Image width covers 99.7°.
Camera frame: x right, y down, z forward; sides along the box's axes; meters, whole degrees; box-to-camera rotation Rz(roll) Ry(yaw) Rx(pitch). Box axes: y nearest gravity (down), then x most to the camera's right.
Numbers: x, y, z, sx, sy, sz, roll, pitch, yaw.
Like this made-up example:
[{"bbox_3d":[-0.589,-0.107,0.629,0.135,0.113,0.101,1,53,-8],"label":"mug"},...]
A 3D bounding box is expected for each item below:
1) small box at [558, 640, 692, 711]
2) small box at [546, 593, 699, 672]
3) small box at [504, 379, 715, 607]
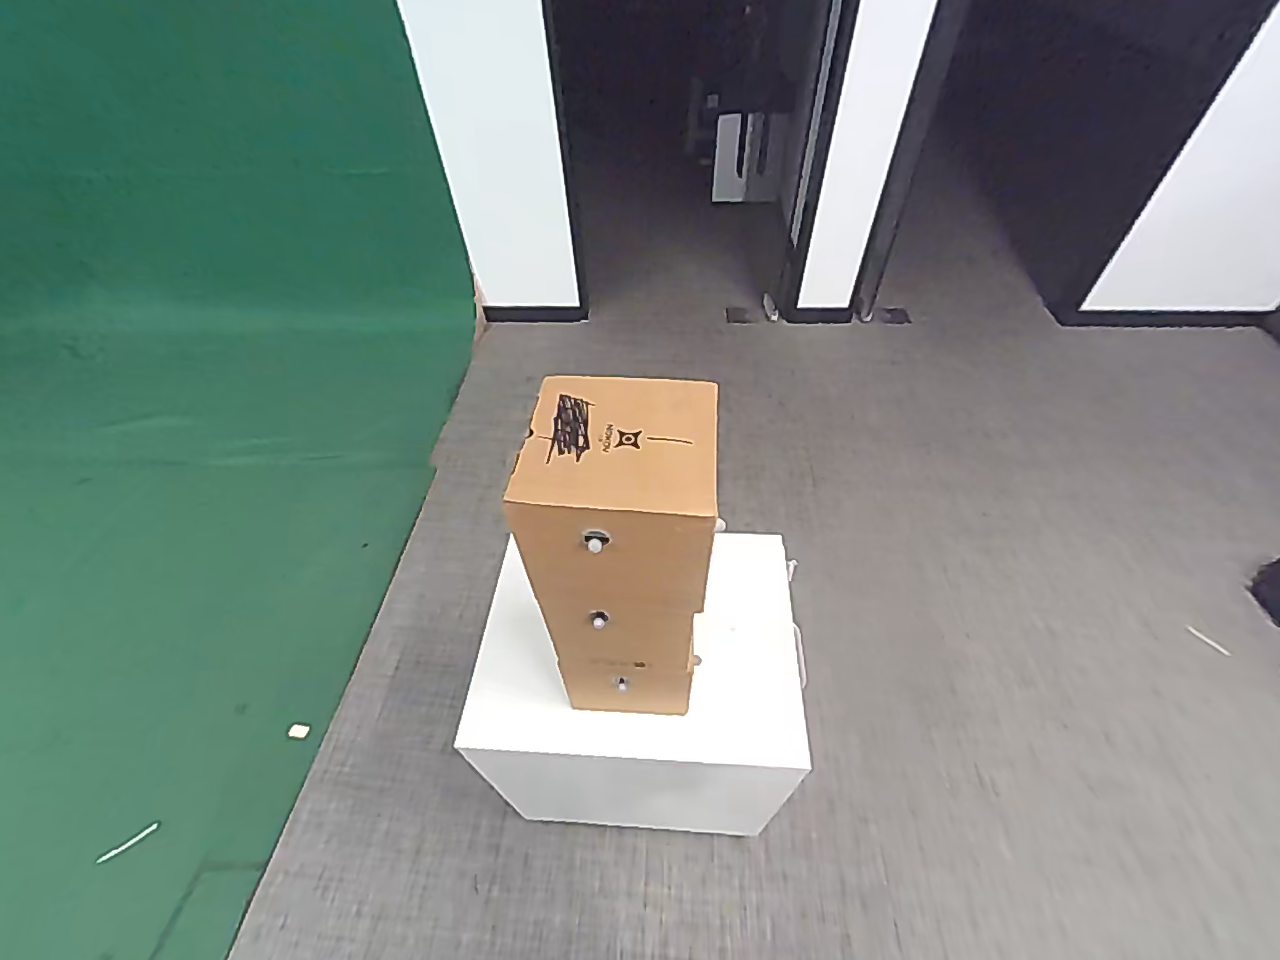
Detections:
[{"bbox_3d":[-0.012,0.230,0.803,0.179,0.176,0.168,2,49,3],"label":"small box"},{"bbox_3d":[-0.015,0.122,0.684,0.168,0.176,0.179,1,50,2],"label":"small box"},{"bbox_3d":[-0.017,0.016,0.554,0.179,0.176,0.168,4,50,5],"label":"small box"}]
